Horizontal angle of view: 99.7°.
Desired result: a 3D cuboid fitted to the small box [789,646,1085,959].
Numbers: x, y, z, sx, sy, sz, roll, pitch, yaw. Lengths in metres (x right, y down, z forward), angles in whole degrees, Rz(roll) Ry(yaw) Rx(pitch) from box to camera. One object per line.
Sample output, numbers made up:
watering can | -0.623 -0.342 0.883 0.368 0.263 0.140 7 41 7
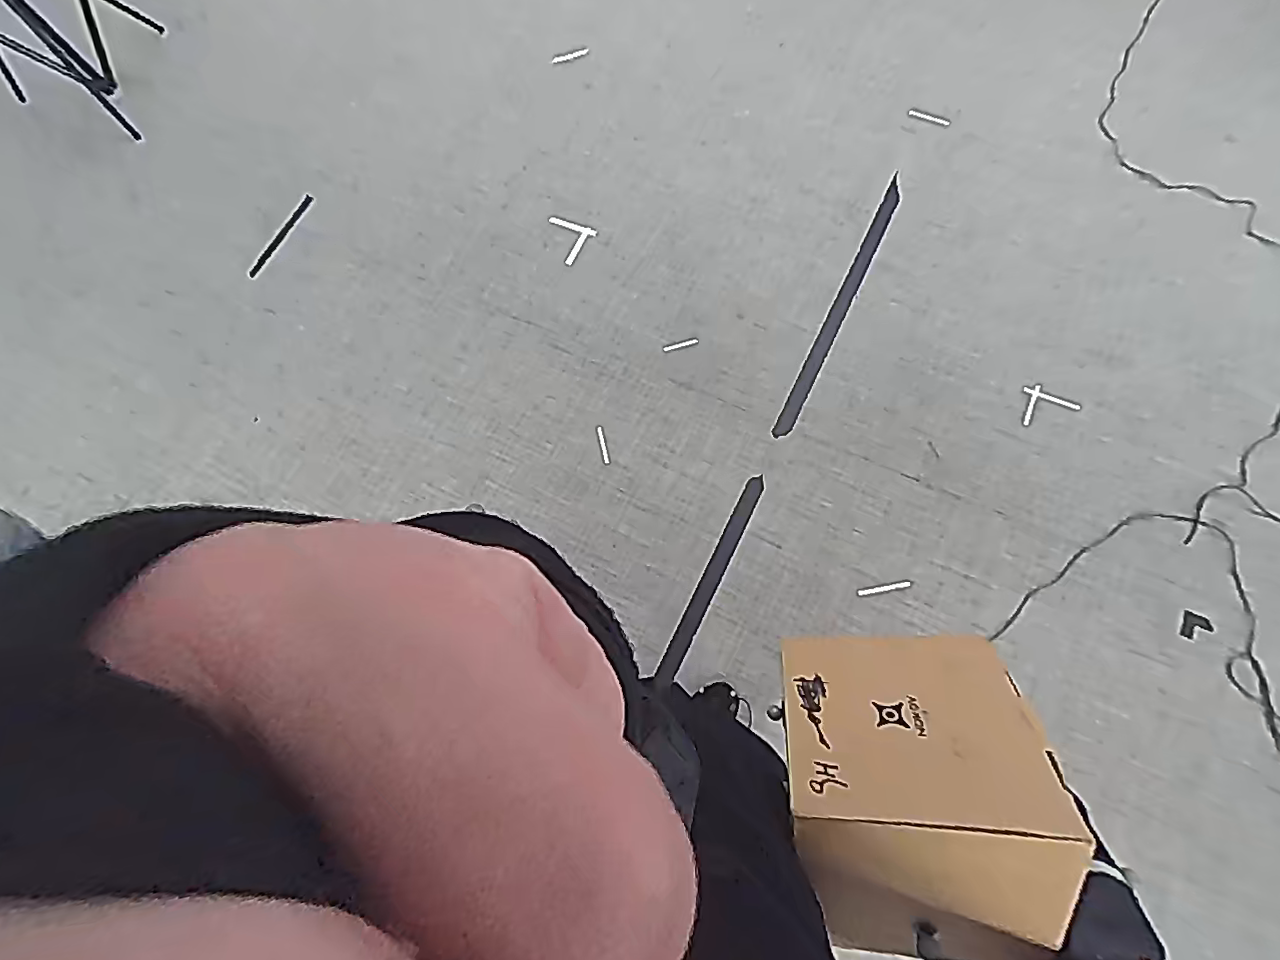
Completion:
small box | 0.221 0.264 0.459 0.179 0.168 0.176 -4 116 14
